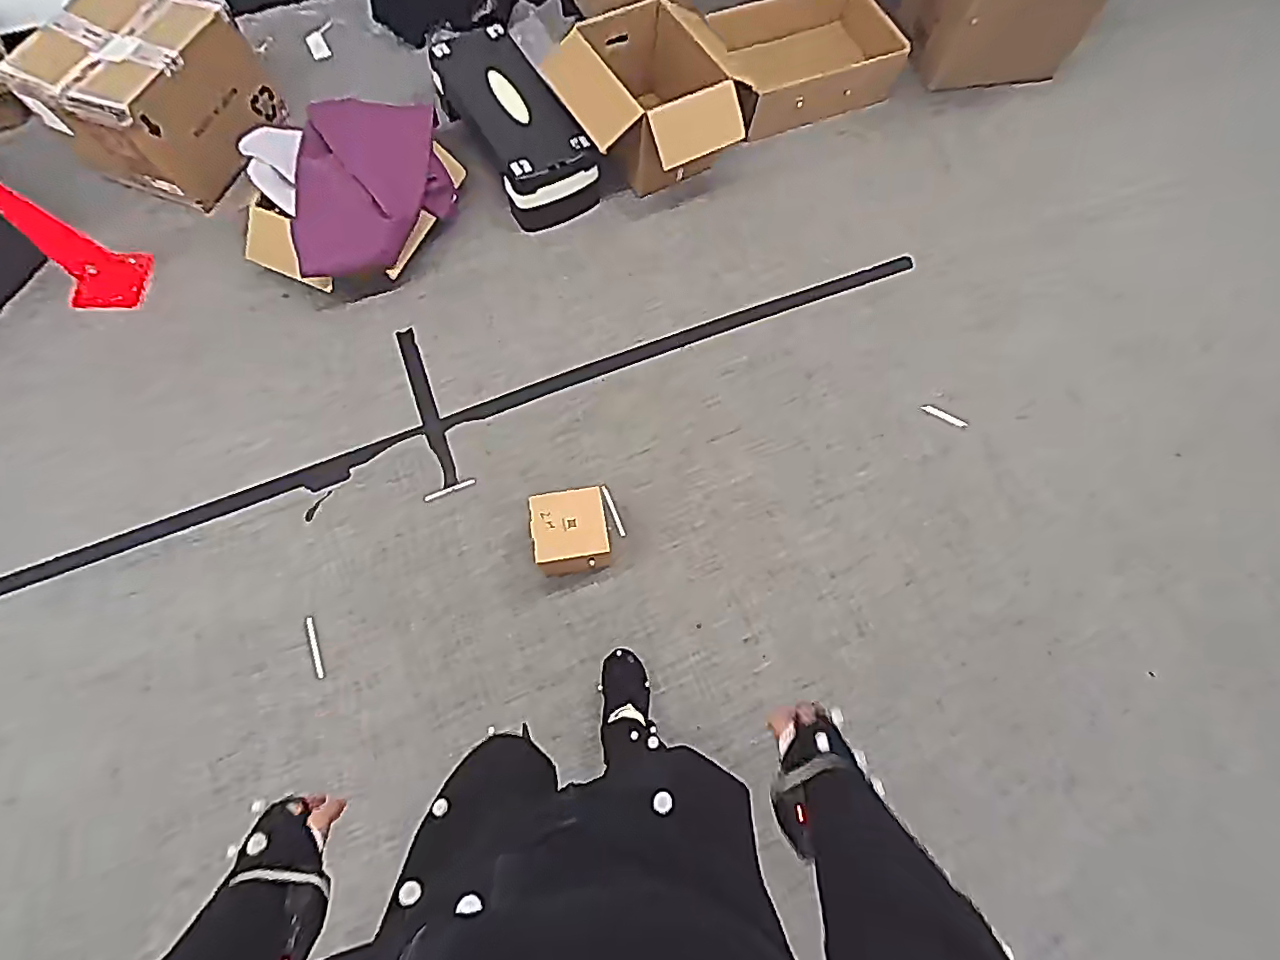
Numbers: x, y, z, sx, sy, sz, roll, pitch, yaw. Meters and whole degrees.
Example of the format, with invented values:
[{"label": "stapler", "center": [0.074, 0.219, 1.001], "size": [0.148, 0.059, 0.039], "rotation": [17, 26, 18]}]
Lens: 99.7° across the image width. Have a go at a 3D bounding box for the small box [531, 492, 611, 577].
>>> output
[{"label": "small box", "center": [-0.171, 0.141, 1.359], "size": [0.179, 0.176, 0.168], "rotation": [-8, 71, -6]}]
